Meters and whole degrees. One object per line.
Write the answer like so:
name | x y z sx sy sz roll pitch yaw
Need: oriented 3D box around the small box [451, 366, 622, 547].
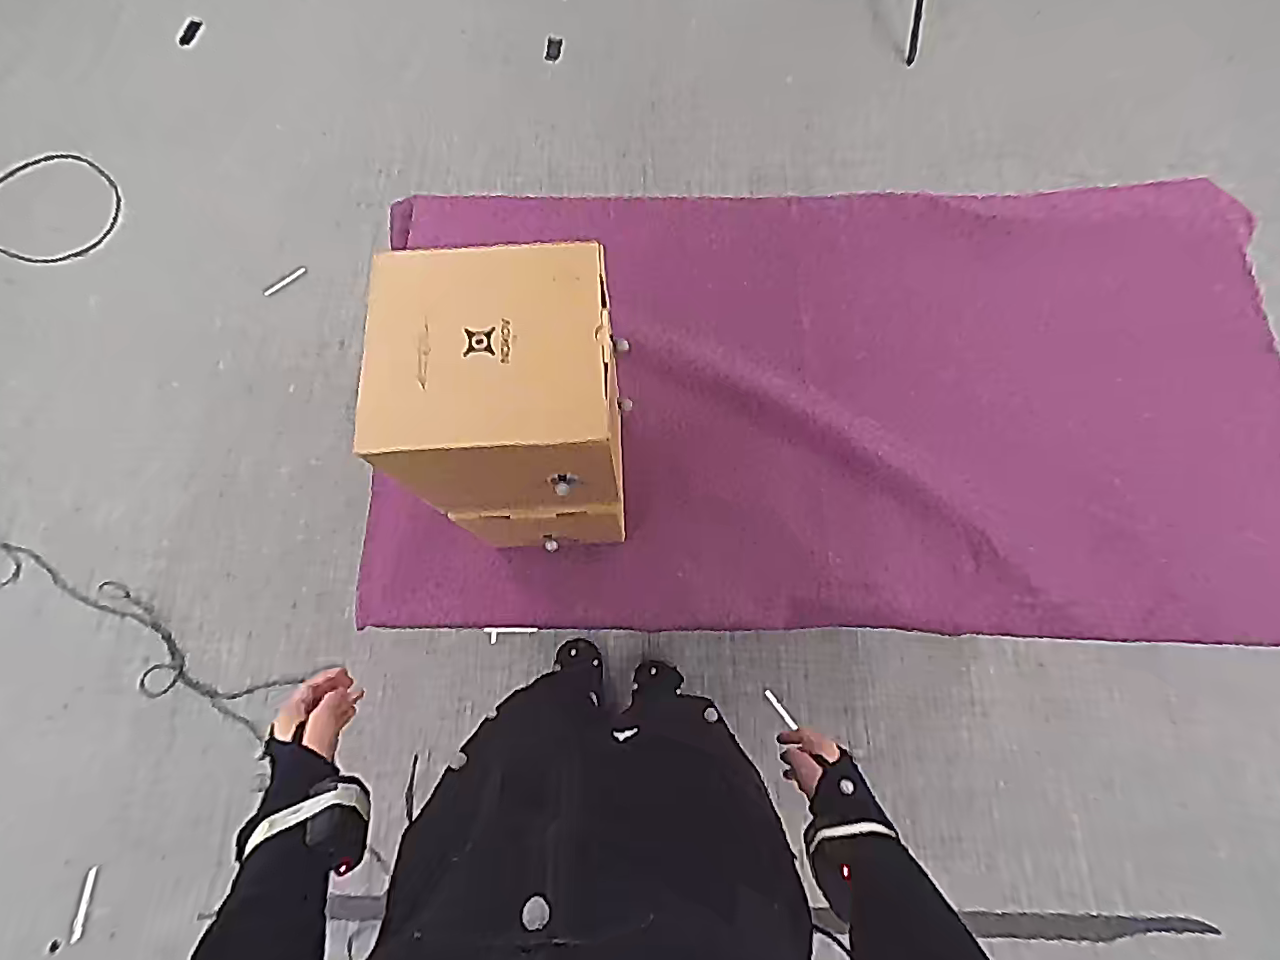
small box | -0.108 -0.025 0.627 0.168 0.176 0.179 -3 74 0

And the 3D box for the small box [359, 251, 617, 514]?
small box | -0.111 -0.072 0.472 0.179 0.176 0.168 -4 72 0
